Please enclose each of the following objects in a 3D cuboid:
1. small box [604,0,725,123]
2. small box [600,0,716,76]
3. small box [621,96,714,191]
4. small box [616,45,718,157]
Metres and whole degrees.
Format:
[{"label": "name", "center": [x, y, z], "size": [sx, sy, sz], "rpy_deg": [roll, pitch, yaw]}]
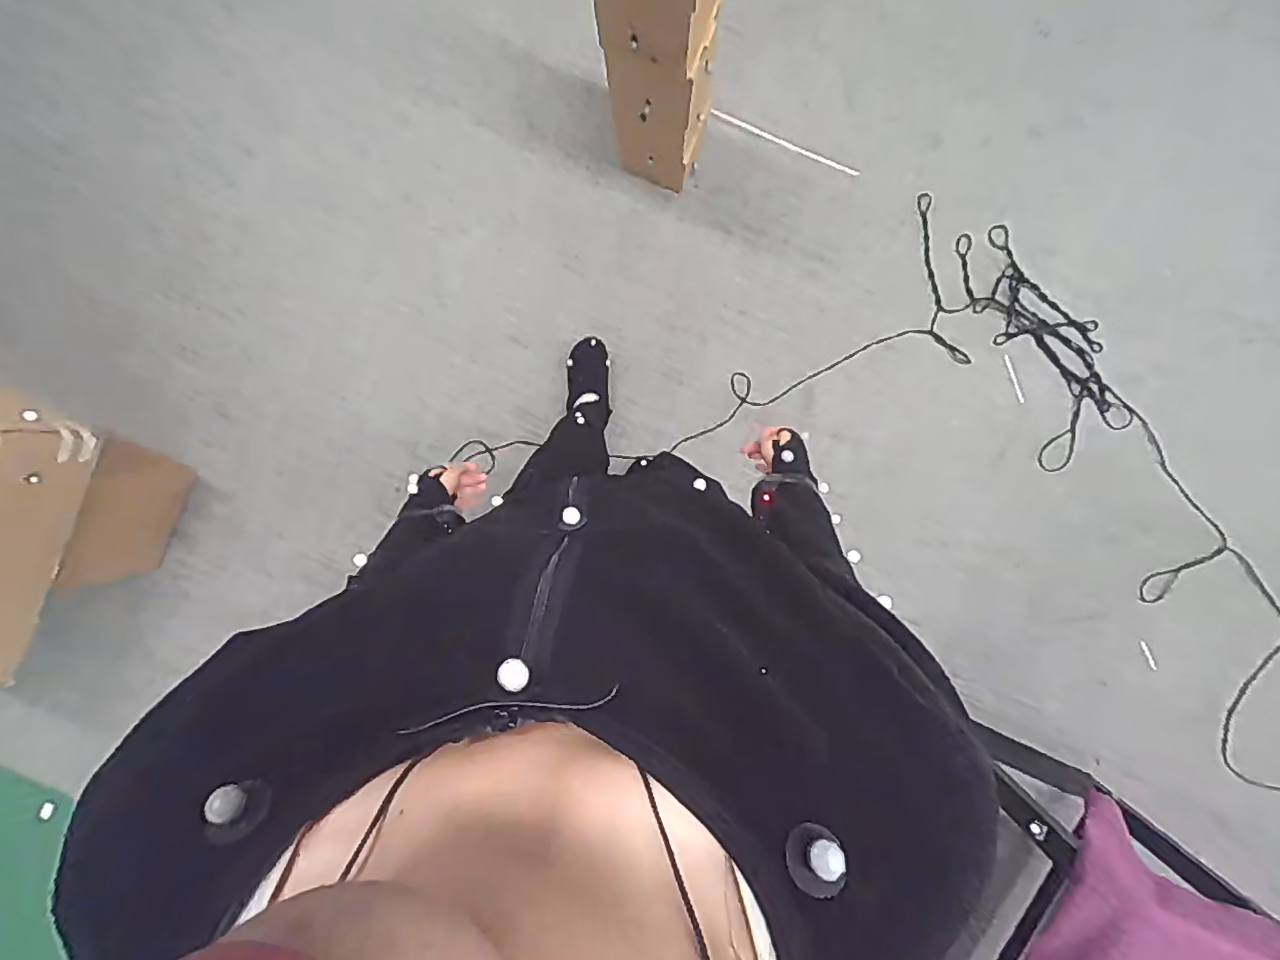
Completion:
[{"label": "small box", "center": [0.046, -0.823, 1.025], "size": [0.179, 0.176, 0.168], "rpy_deg": [21, 95, -1]}, {"label": "small box", "center": [0.035, -0.808, 0.864], "size": [0.168, 0.176, 0.179], "rpy_deg": [21, 96, 0]}, {"label": "small box", "center": [0.065, -0.860, 1.350], "size": [0.179, 0.176, 0.168], "rpy_deg": [23, 95, -1]}, {"label": "small box", "center": [0.052, -0.851, 1.186], "size": [0.179, 0.176, 0.168], "rpy_deg": [23, 96, 0]}]
